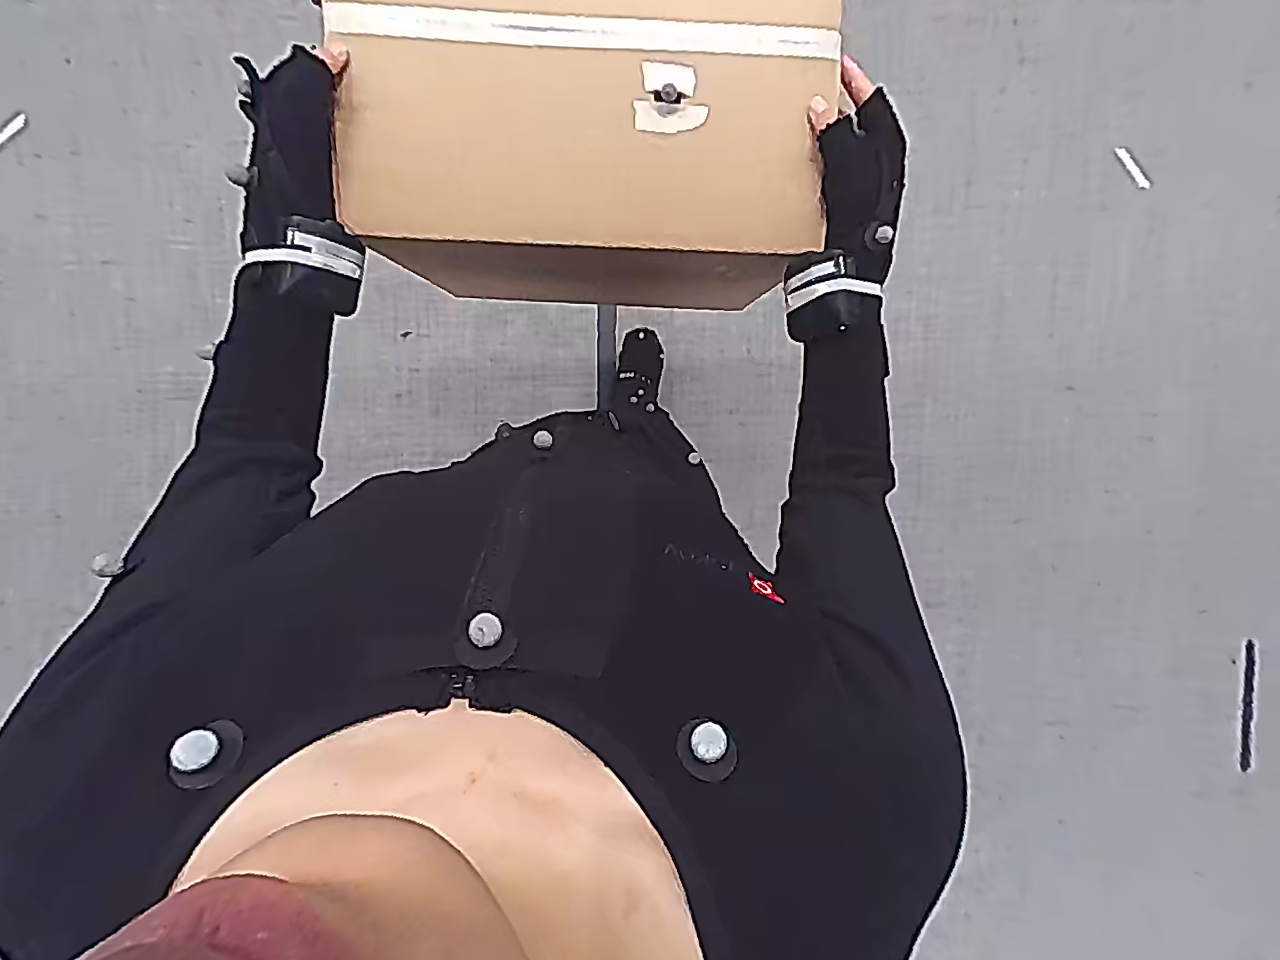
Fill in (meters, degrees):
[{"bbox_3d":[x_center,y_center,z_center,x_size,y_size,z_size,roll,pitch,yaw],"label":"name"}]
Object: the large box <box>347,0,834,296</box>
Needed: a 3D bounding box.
[{"bbox_3d":[-0.046,-0.387,0.589,0.408,0.320,0.320,1,100,-3],"label":"large box"}]
